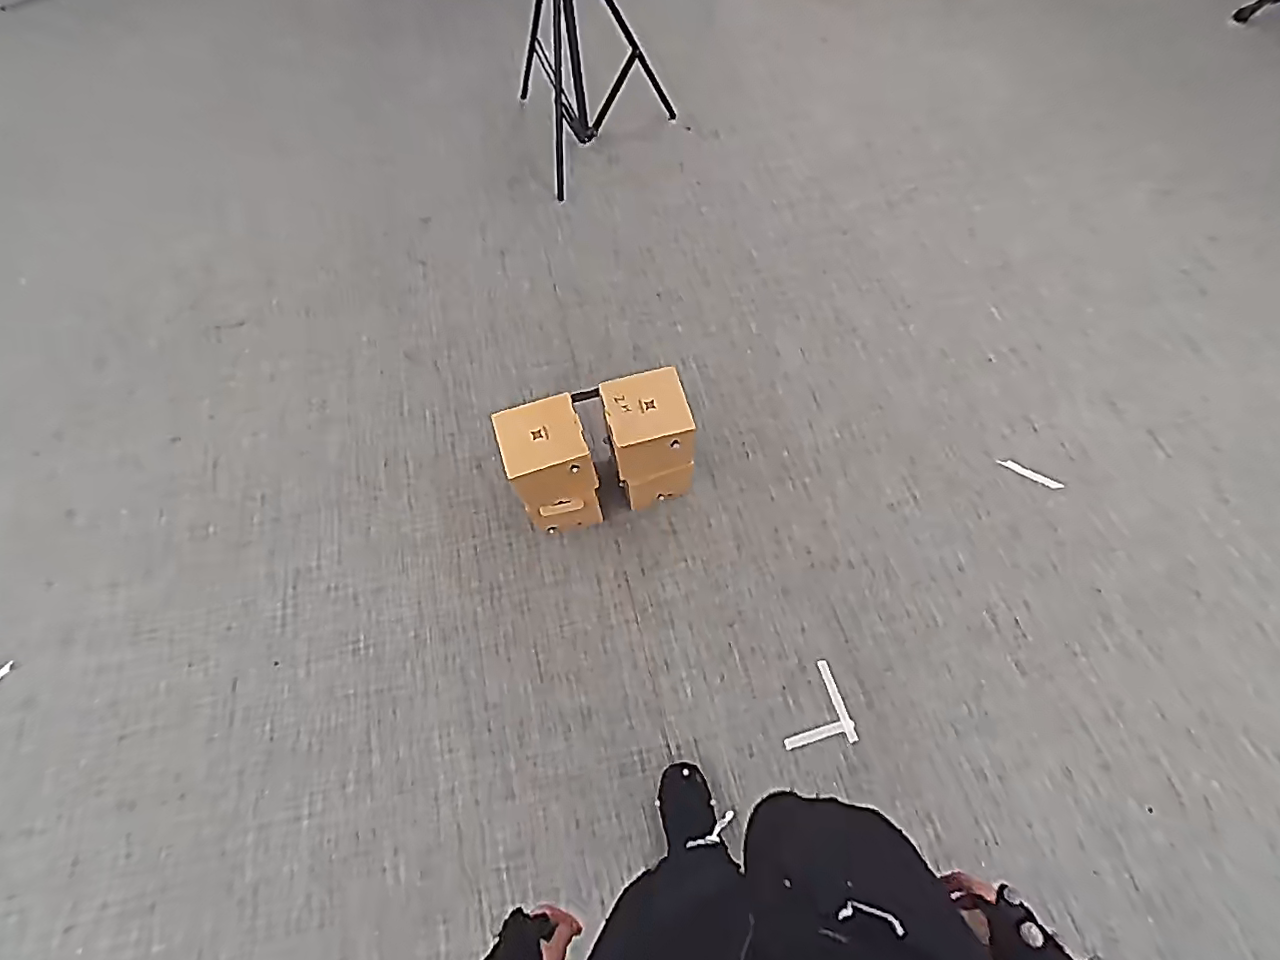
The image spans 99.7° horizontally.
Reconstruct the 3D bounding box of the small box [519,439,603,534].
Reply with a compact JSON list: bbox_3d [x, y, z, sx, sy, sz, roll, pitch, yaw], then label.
[{"bbox_3d":[-0.192,0.024,1.348,0.168,0.176,0.179,-12,65,-3],"label":"small box"}]
